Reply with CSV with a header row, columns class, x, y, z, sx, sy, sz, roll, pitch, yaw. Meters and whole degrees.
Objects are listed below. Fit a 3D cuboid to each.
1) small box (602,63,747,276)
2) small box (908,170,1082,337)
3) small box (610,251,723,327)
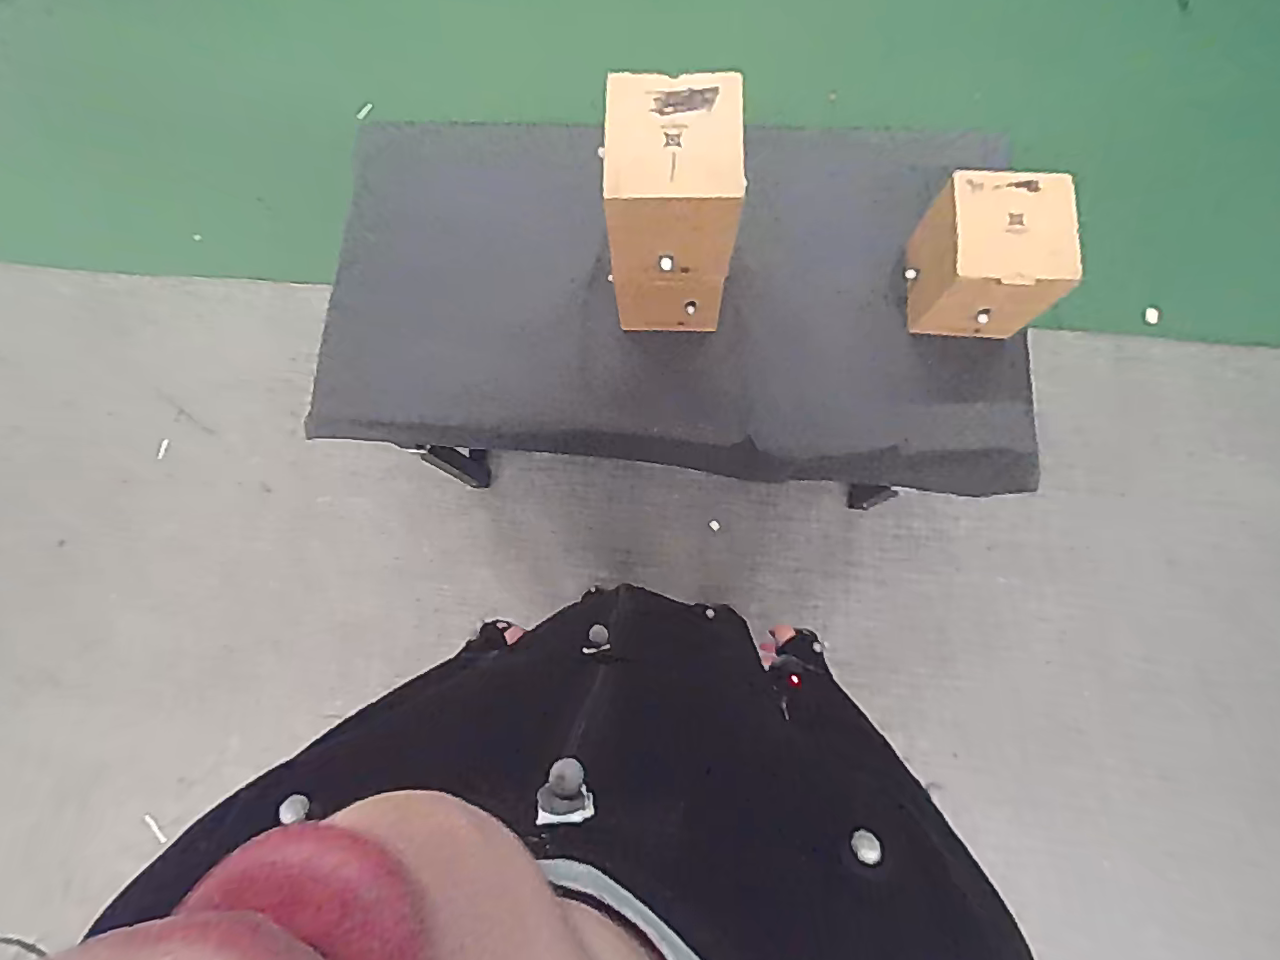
class,x,y,z,sx,sy,sz,roll,pitch,yaw
small box,0.042,-0.391,0.700,0.168,0.176,0.179,1,79,2
small box,0.531,-0.337,0.831,0.168,0.176,0.179,5,79,4
small box,0.046,-0.360,0.861,0.168,0.176,0.179,2,77,2
